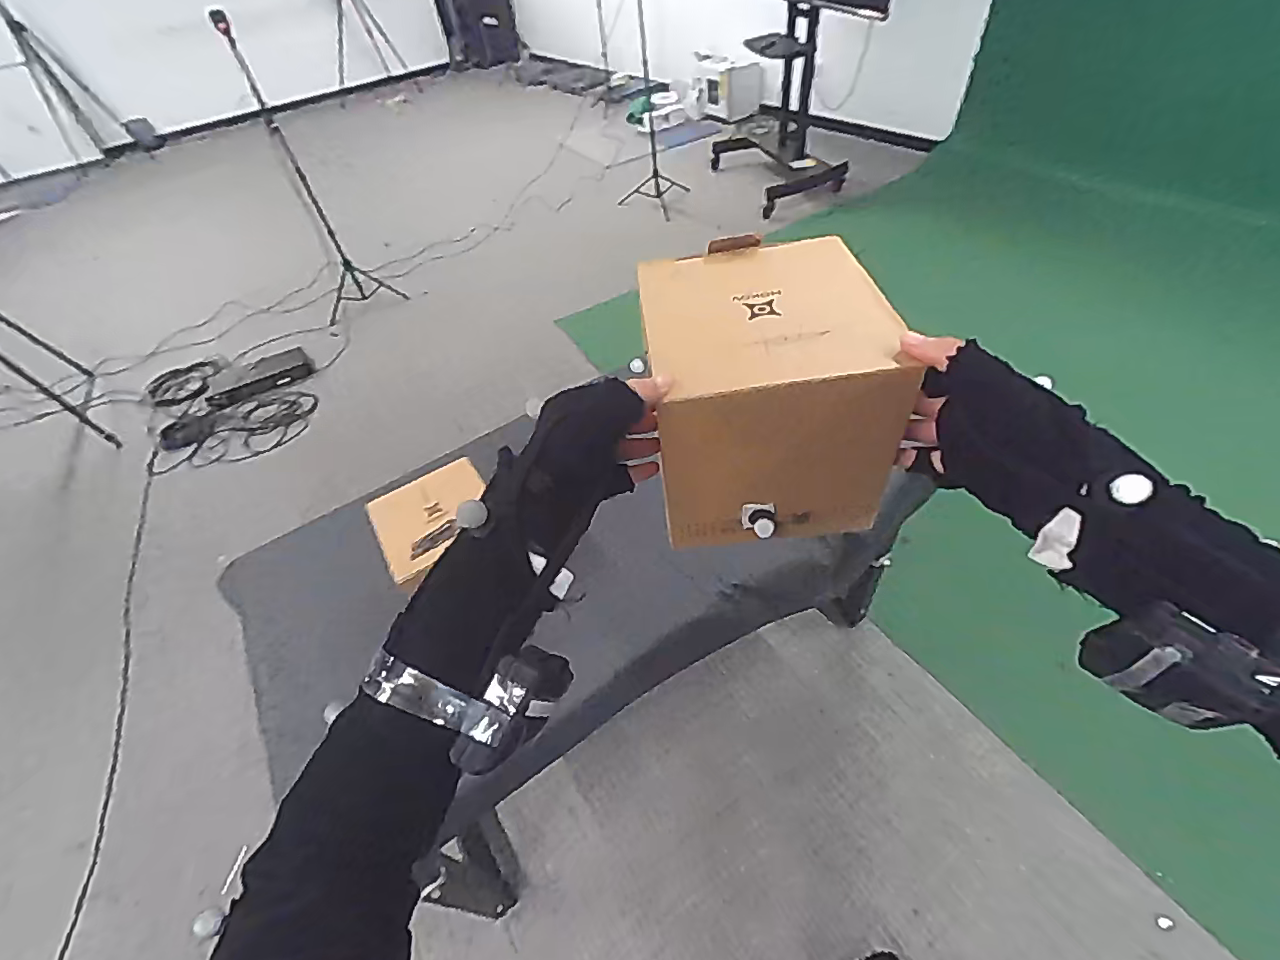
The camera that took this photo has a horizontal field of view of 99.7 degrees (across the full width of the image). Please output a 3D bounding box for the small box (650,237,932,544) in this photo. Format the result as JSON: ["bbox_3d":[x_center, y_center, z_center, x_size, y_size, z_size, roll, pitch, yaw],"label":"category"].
[{"bbox_3d":[0.097,-0.070,0.439,0.168,0.176,0.179,-6,49,3],"label":"small box"}]

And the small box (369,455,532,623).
[{"bbox_3d":[-0.290,0.099,0.848,0.168,0.176,0.179,-28,49,-18],"label":"small box"}]
